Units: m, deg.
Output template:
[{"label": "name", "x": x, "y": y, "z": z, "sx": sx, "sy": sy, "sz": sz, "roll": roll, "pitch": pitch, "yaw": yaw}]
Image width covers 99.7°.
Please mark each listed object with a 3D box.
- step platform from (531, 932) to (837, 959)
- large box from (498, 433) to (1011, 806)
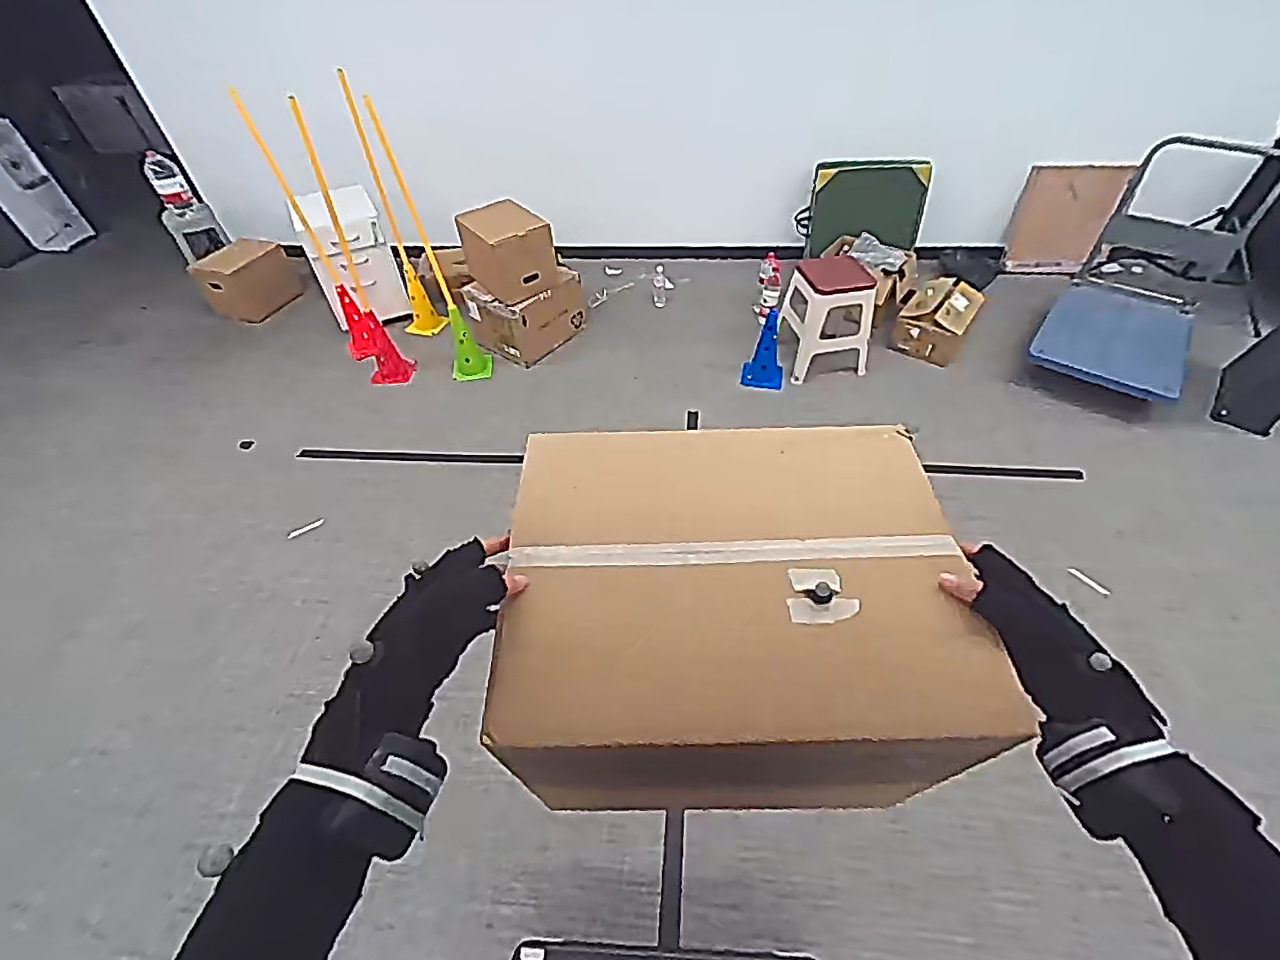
[{"label": "step platform", "x": 0.091, "y": 1.126, "z": 1.105, "sx": 0.684, "sy": 0.204, "sz": 0.286, "roll": 1, "pitch": 47, "yaw": 2}, {"label": "large box", "x": 0.085, "y": 0.166, "z": 0.618, "sx": 0.408, "sy": 0.320, "sz": 0.320, "roll": -1, "pitch": 52, "yaw": 0}]
